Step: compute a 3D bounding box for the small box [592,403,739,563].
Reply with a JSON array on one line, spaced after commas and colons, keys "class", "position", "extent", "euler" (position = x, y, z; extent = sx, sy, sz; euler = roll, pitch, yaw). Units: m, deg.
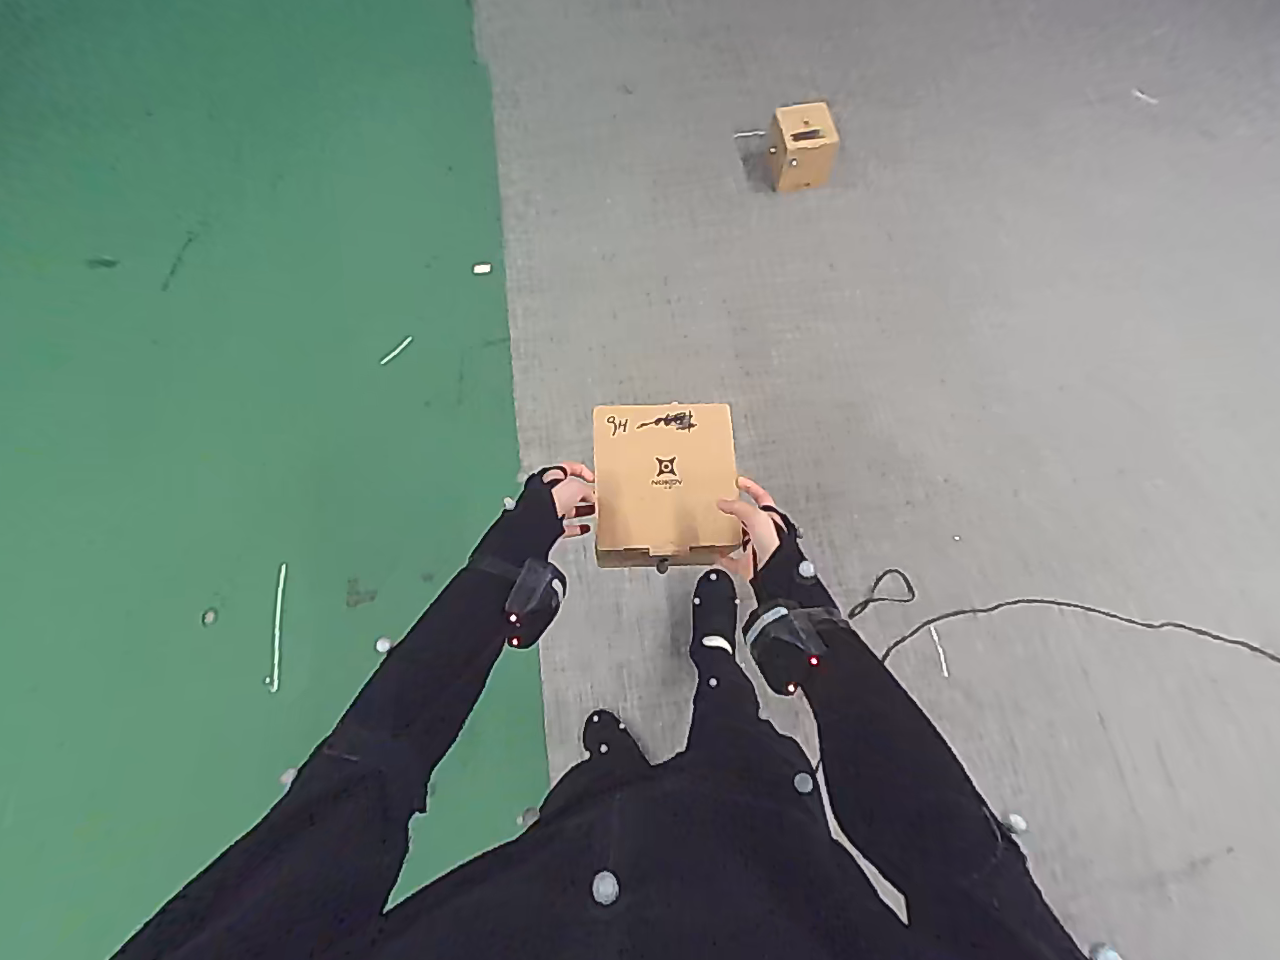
[{"class": "small box", "position": [0.025, 0.014, 0.694], "extent": [0.168, 0.176, 0.179], "euler": [0, 75, -4]}]
